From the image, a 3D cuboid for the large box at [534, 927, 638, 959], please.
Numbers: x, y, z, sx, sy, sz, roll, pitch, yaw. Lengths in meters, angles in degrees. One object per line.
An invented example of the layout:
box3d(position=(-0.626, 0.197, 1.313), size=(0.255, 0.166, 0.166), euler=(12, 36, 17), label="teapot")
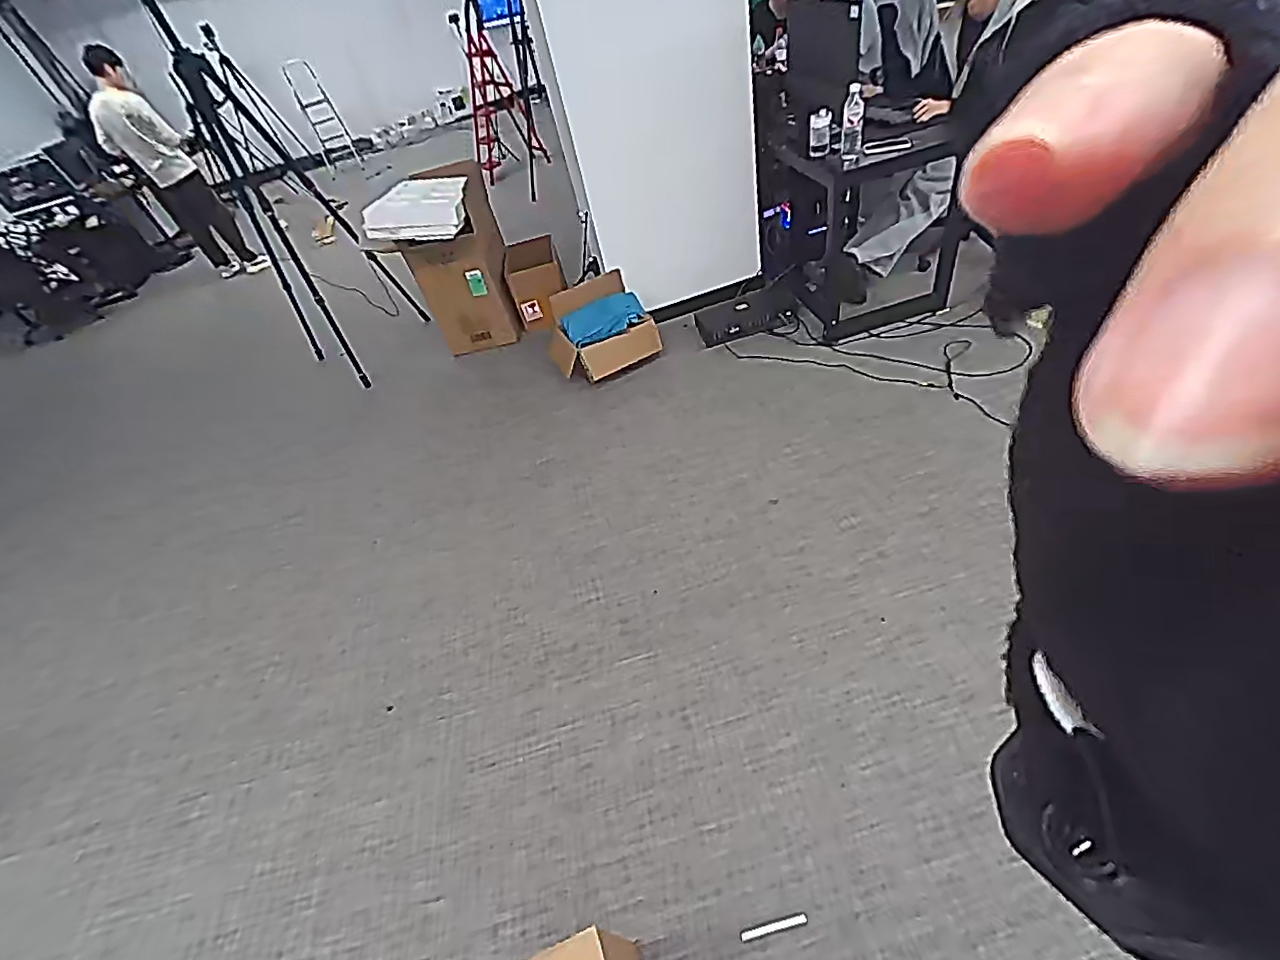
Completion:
box3d(position=(-0.107, 1.066, 0.888), size=(0.320, 0.320, 0.408), euler=(-24, 43, -8), label="large box")
